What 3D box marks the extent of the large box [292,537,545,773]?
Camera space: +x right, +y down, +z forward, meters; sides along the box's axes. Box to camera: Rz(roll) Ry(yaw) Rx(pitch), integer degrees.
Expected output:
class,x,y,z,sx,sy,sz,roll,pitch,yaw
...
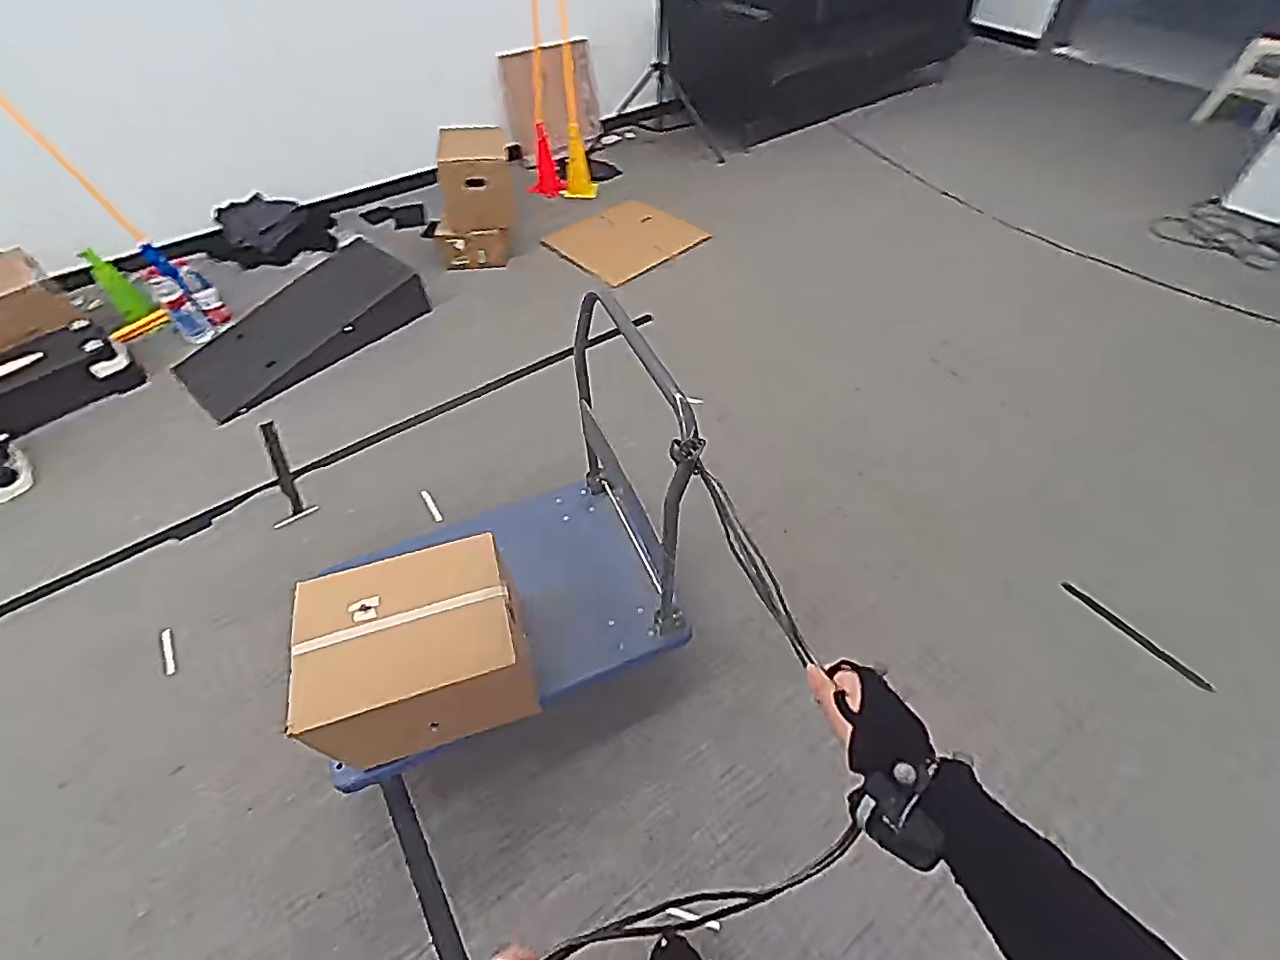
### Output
class,x,y,z,sx,sy,sz,roll,pitch,yaw
large box,-0.455,0.379,1.170,0.408,0.320,0.320,-16,52,-10
